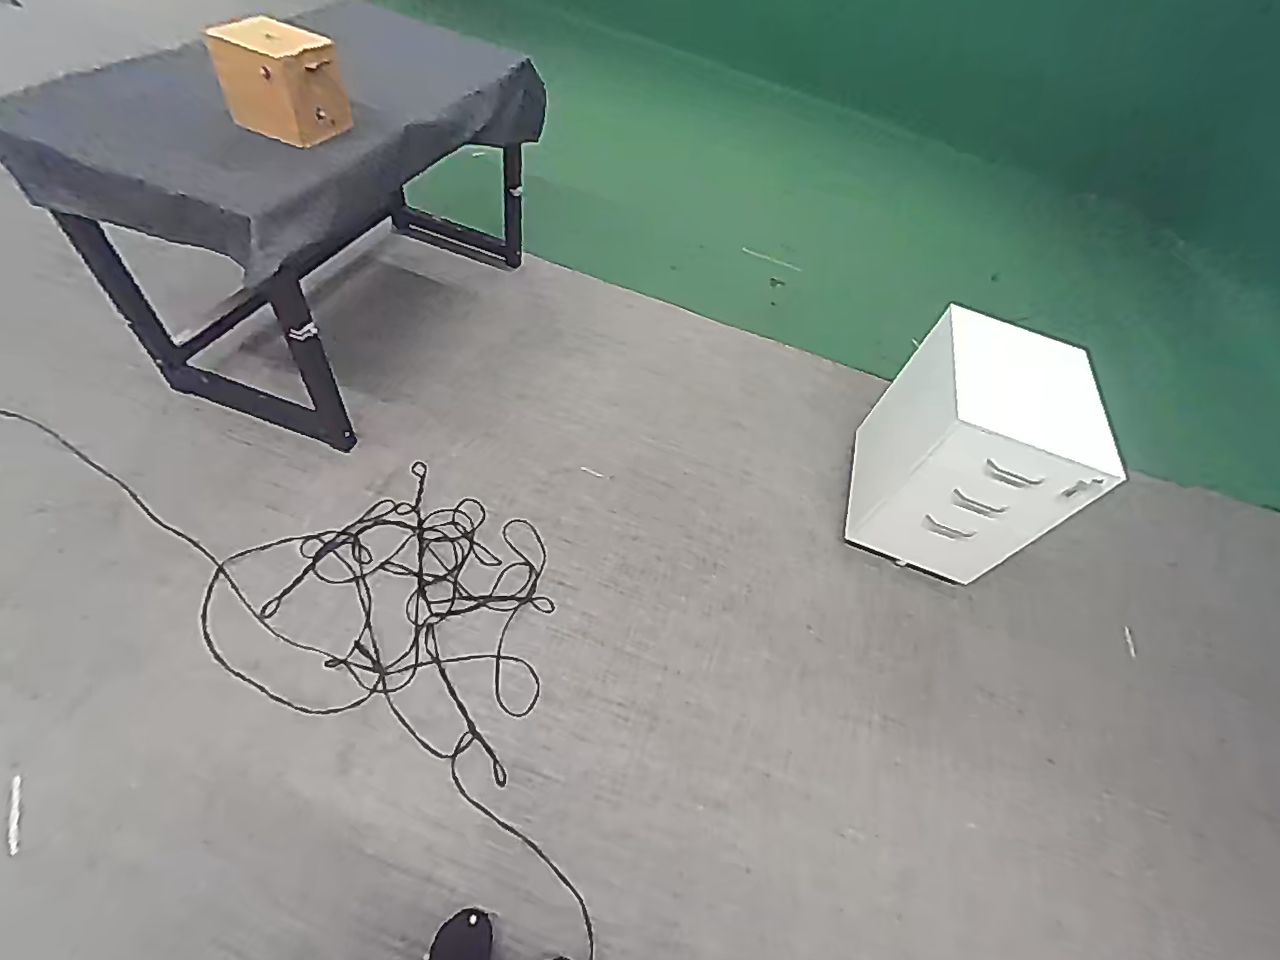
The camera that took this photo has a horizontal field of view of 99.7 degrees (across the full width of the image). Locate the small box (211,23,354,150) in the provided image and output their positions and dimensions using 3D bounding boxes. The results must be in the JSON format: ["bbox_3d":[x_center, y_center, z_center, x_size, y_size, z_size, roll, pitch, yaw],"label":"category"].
[{"bbox_3d":[-0.761,-0.850,1.173,0.179,0.176,0.168,21,51,3],"label":"small box"}]
